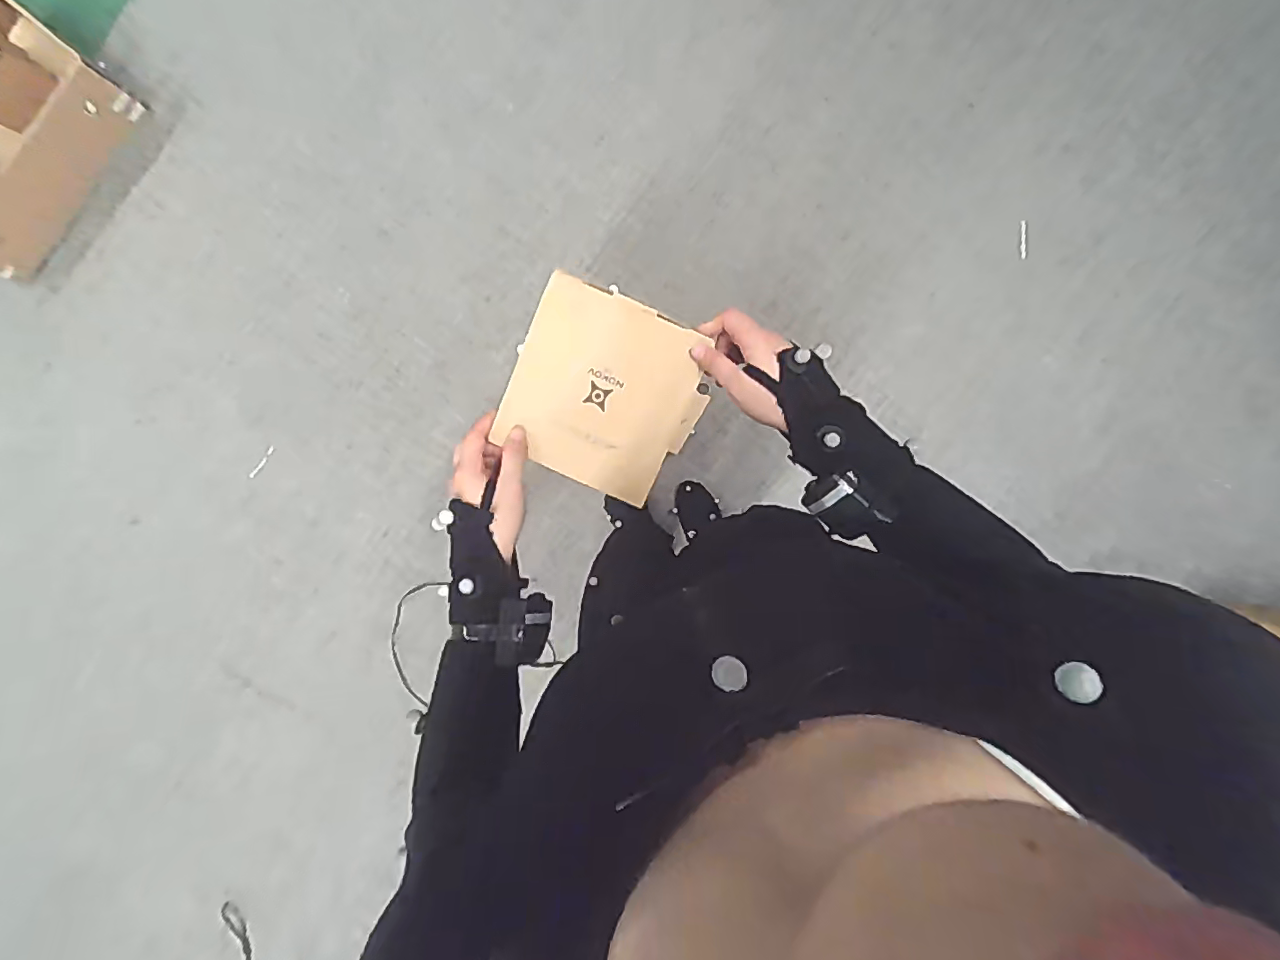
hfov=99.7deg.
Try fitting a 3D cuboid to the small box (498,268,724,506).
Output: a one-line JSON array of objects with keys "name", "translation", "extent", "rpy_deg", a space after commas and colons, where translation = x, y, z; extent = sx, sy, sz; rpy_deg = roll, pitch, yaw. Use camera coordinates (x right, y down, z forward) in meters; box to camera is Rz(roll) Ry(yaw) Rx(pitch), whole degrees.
[{"name": "small box", "translation": [-0.026, -0.097, 0.585], "extent": [0.168, 0.176, 0.179], "rpy_deg": [23, 100, 0]}]

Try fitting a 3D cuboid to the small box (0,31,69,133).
[{"name": "small box", "translation": [-1.596, -1.008, 1.325], "extent": [0.179, 0.176, 0.168], "rpy_deg": [43, 93, -2]}]
